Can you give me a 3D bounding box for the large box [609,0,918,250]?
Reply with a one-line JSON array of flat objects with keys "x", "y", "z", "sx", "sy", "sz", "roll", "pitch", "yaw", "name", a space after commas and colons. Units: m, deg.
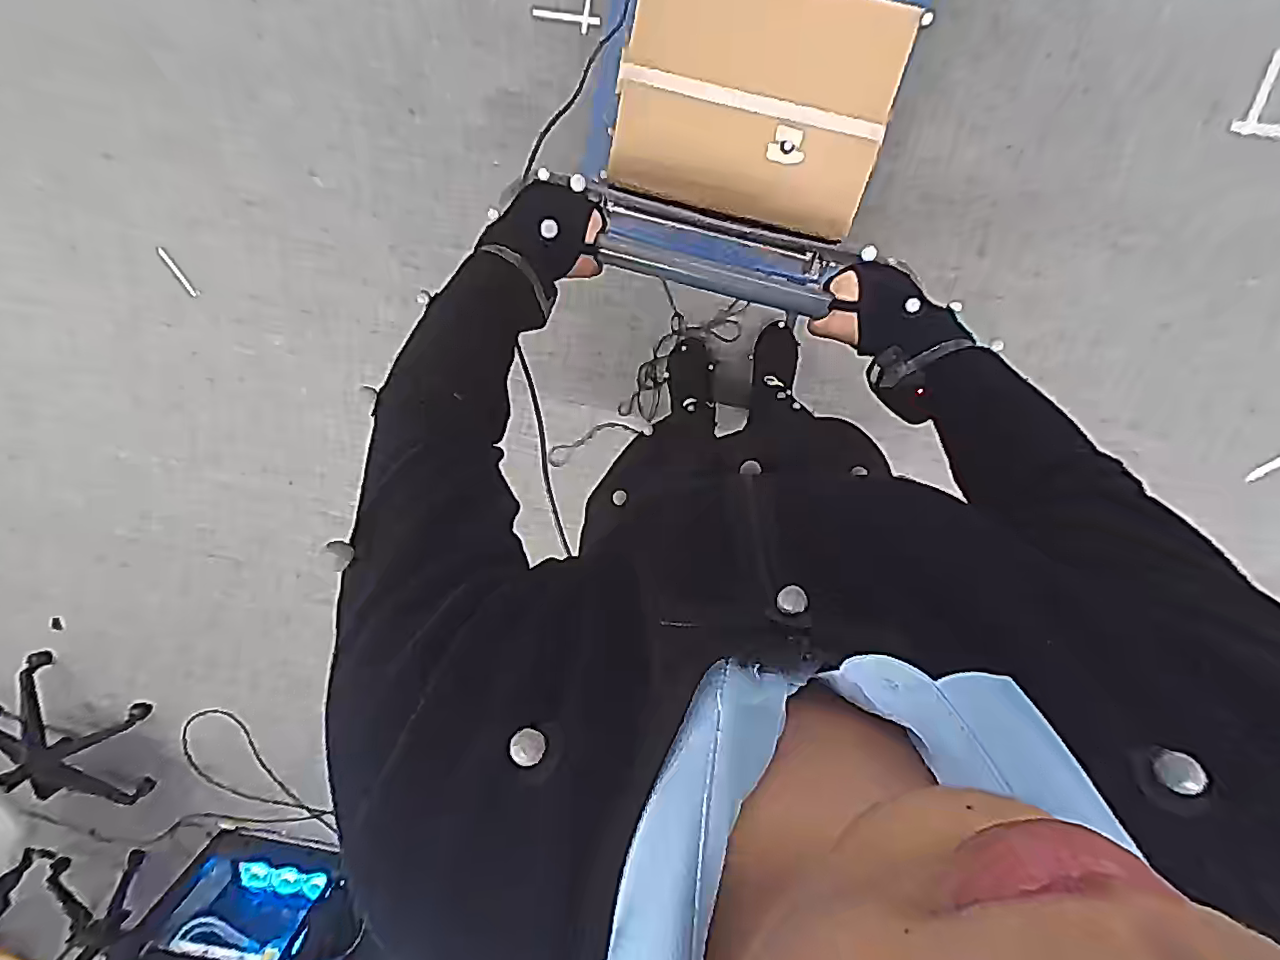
[{"x": 0.180, "y": -0.613, "z": 0.956, "sx": 0.408, "sy": 0.320, "sz": 0.320, "roll": 13, "pitch": 113, "yaw": -1, "name": "large box"}]
